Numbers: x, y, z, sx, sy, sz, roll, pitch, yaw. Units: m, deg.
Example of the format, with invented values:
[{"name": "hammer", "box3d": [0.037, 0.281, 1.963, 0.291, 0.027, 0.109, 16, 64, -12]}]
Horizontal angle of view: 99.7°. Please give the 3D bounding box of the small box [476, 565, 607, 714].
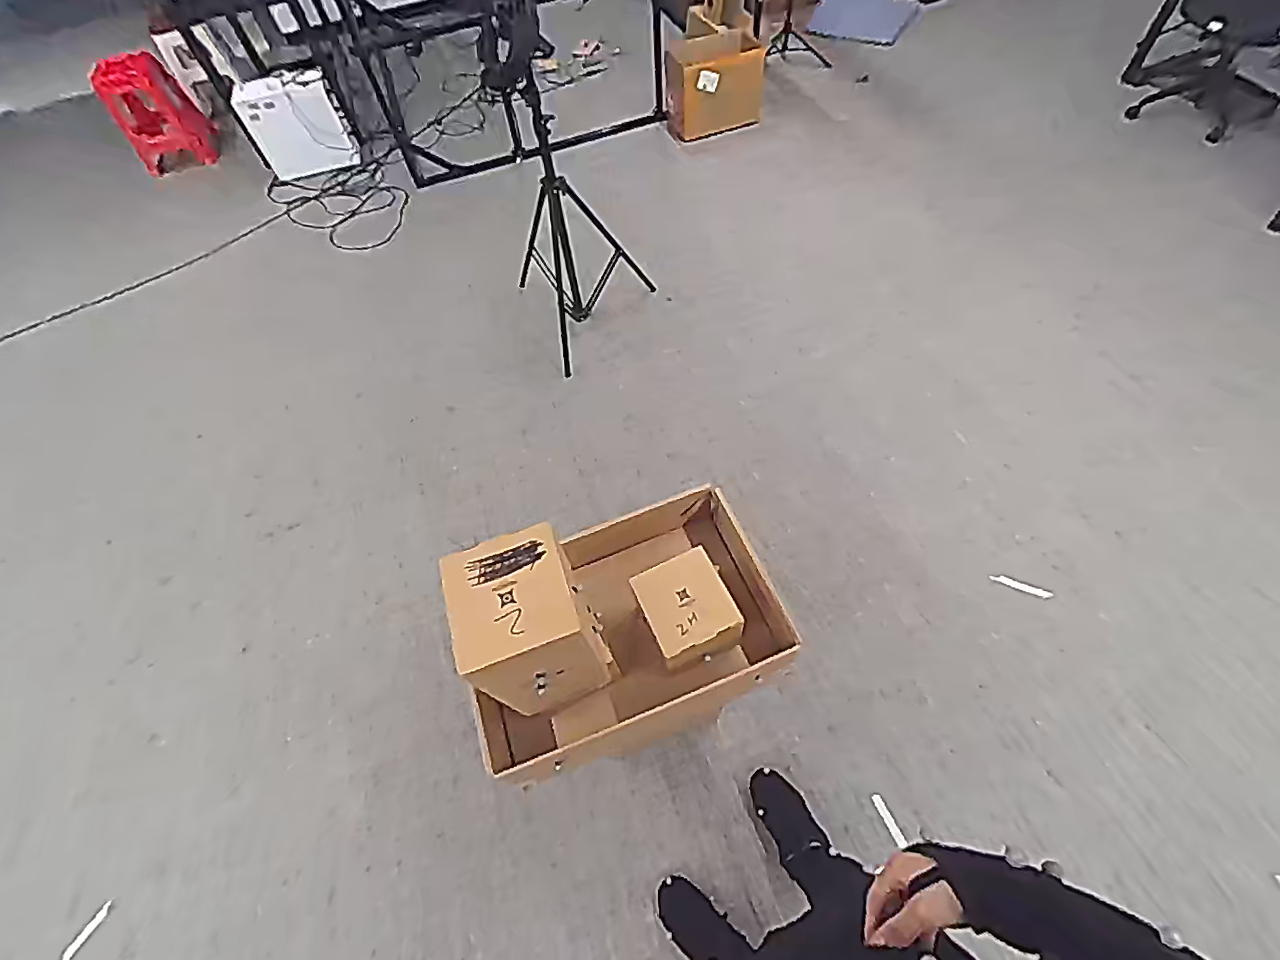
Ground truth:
[{"name": "small box", "box3d": [-0.166, 0.281, 0.941, 0.168, 0.176, 0.179, -20, 58, -7]}]
